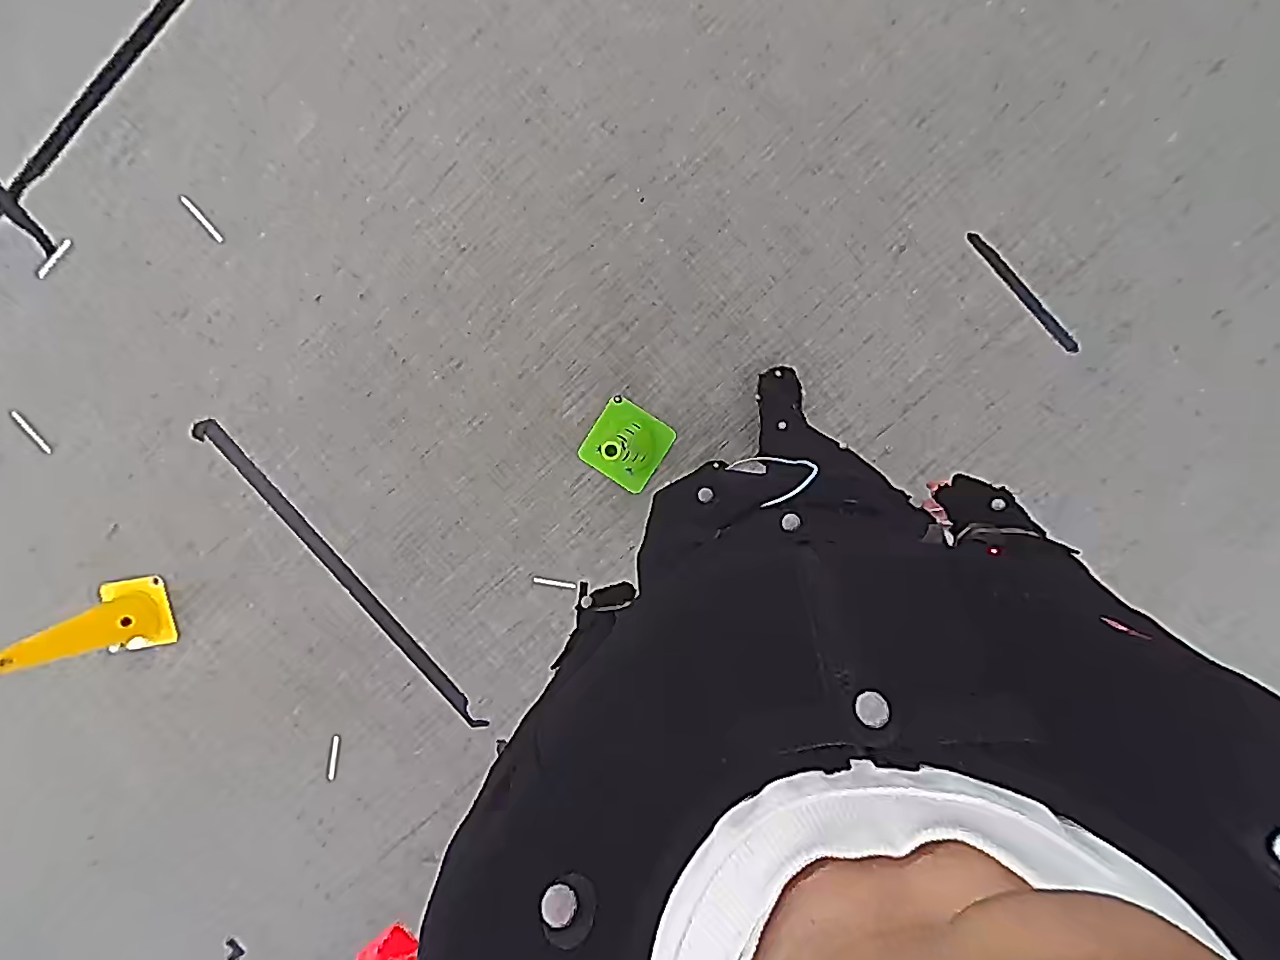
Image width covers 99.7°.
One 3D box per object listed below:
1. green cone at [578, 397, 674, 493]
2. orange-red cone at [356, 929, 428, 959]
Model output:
[{"bbox_3d":[-0.048,-0.070,1.252,0.202,0.368,0.200,32,98,-1],"label":"green cone"},{"bbox_3d":[-0.750,1.485,1.460,0.198,0.360,0.199,-41,91,6],"label":"orange-red cone"}]
